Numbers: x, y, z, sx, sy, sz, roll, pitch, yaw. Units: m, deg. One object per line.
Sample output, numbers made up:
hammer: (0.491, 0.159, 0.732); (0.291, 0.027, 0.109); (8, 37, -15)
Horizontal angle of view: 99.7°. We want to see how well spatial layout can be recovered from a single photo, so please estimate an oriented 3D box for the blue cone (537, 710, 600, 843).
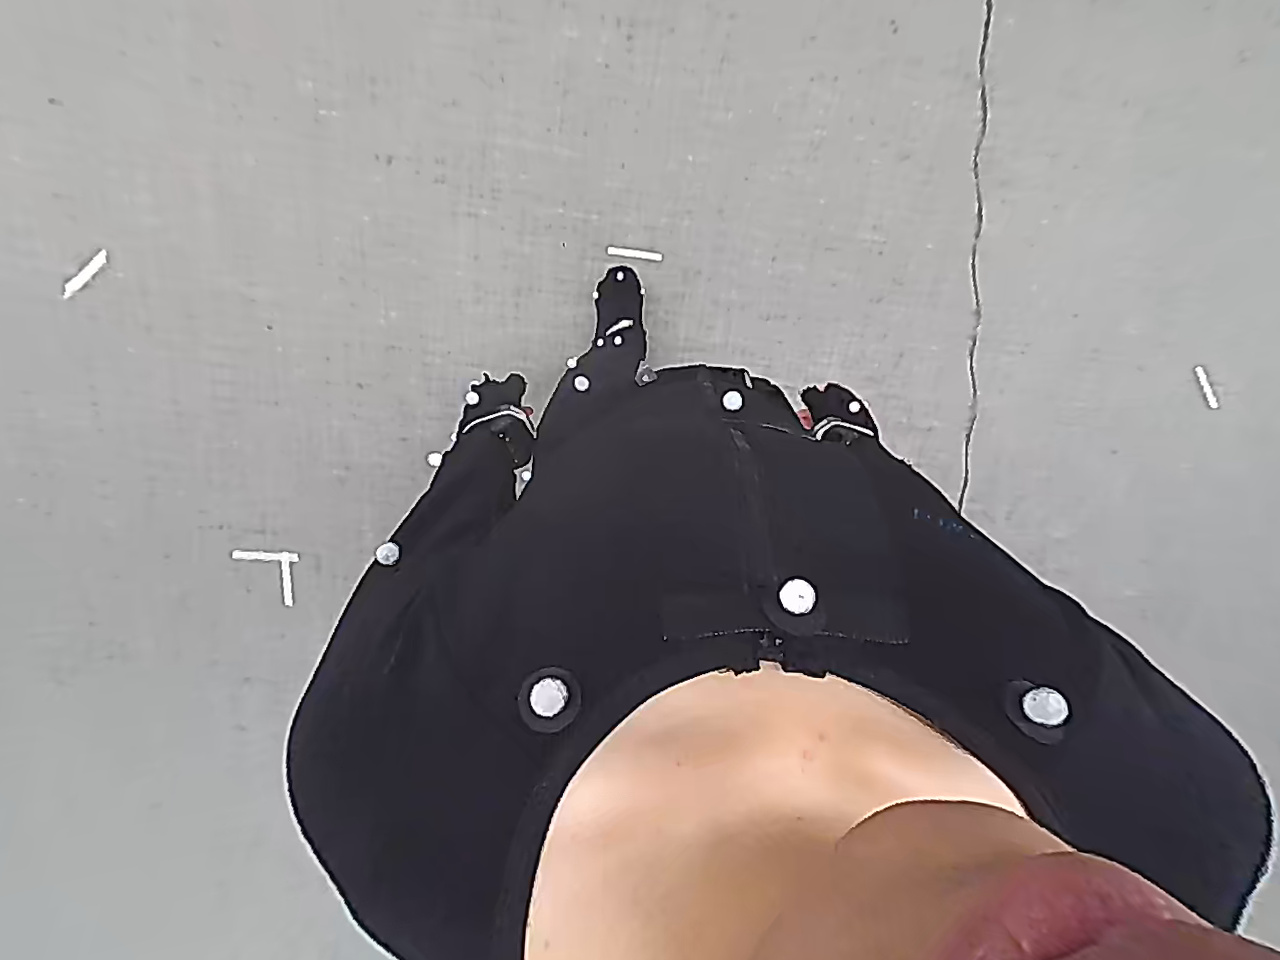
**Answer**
blue cone: (-0.209, 0.811, 1.465); (0.192, 0.380, 0.193); (2, 102, -2)
